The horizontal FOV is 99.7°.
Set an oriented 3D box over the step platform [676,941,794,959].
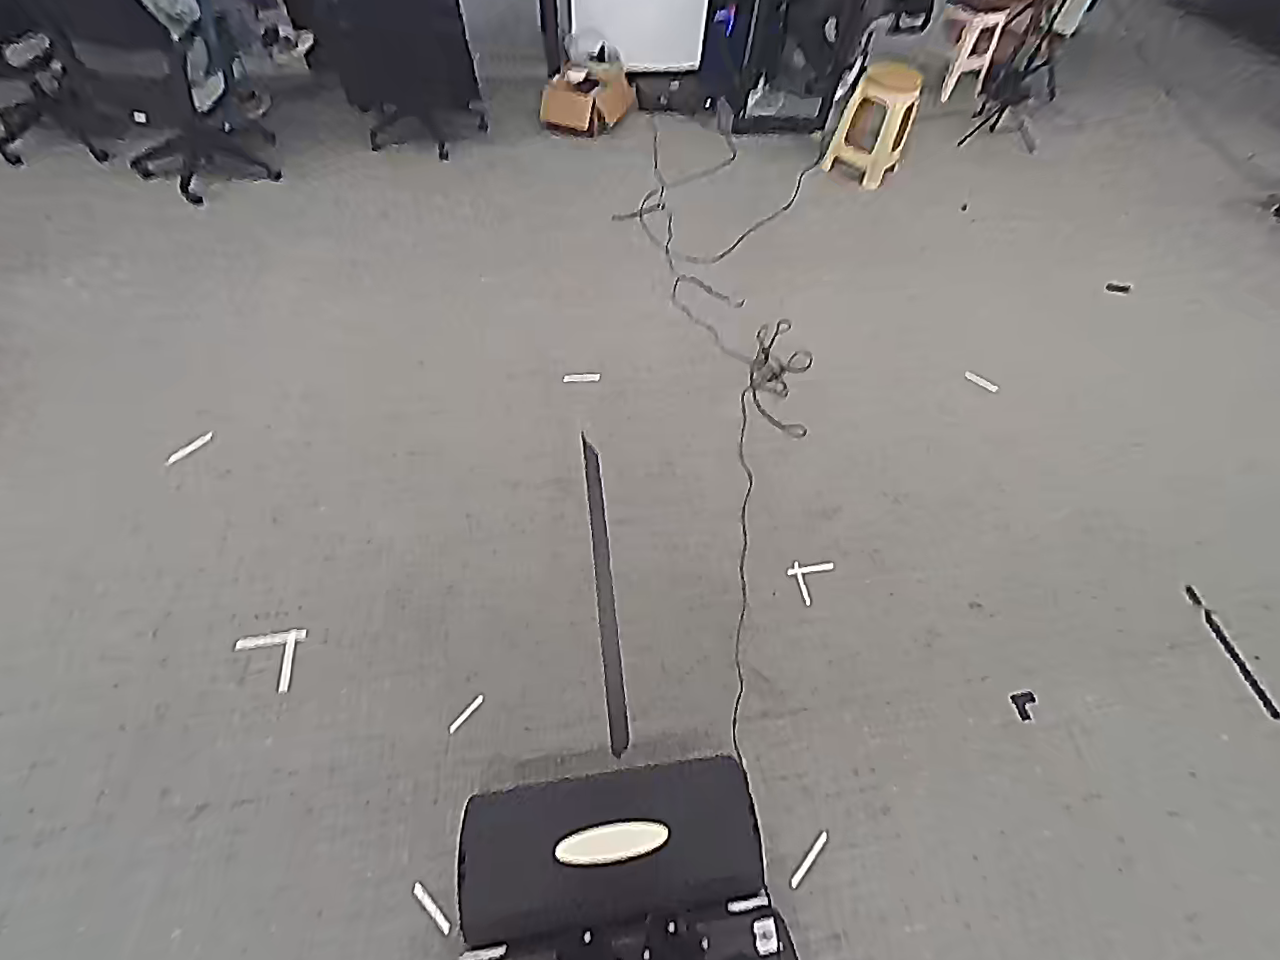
[{"bbox_3d":[-0.011,1.073,0.997,0.684,0.204,0.286,-2,55,-4],"label":"step platform"}]
